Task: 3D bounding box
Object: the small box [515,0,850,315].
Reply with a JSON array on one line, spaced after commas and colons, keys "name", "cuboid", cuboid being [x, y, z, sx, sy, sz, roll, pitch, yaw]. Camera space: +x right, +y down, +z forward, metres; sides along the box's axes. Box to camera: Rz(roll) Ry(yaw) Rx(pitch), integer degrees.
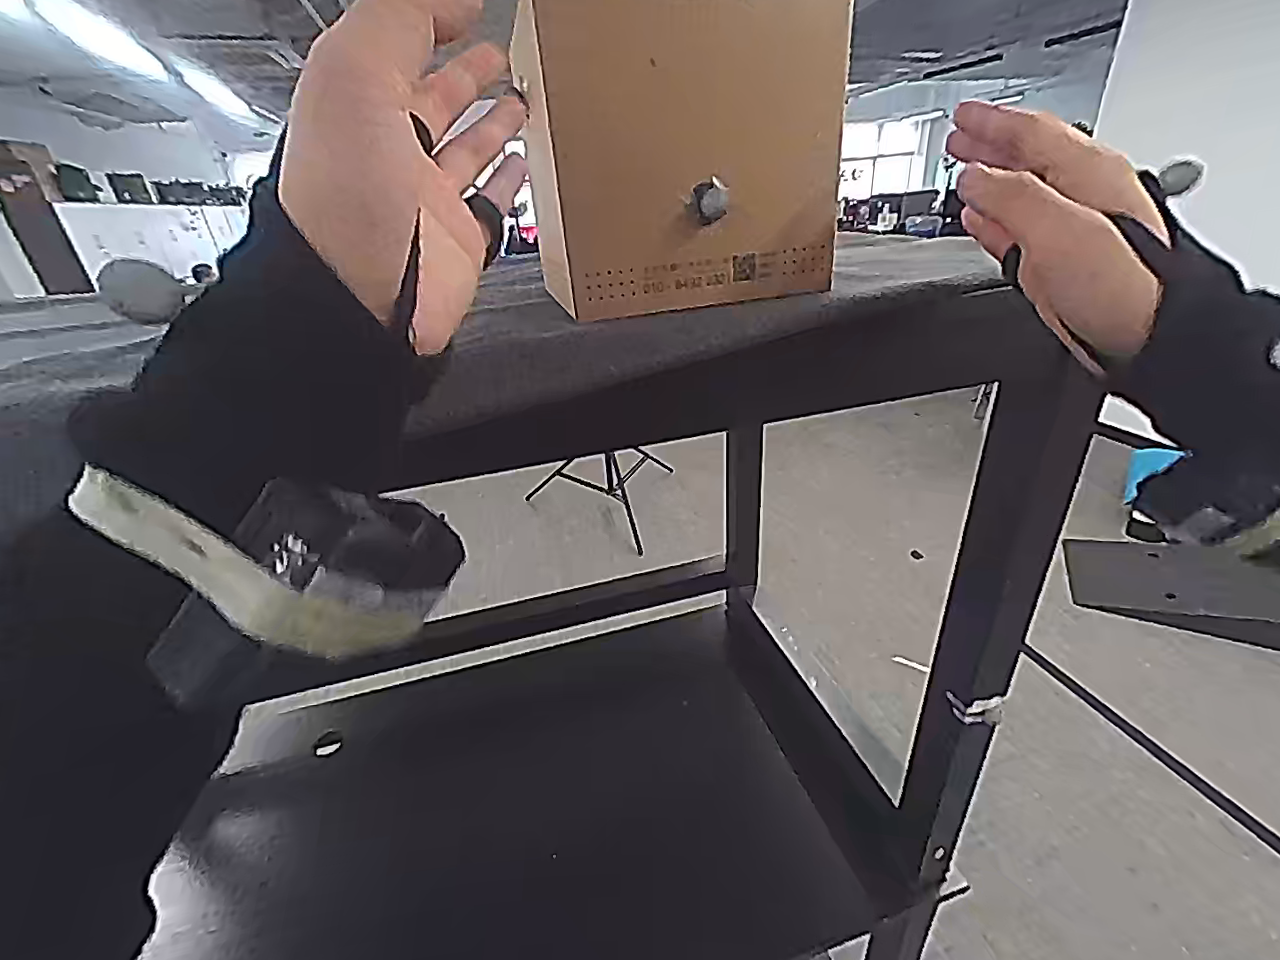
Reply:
[{"name": "small box", "cuboid": [0.015, -0.213, 0.365, 0.168, 0.176, 0.179, -12, 27, -11]}]
